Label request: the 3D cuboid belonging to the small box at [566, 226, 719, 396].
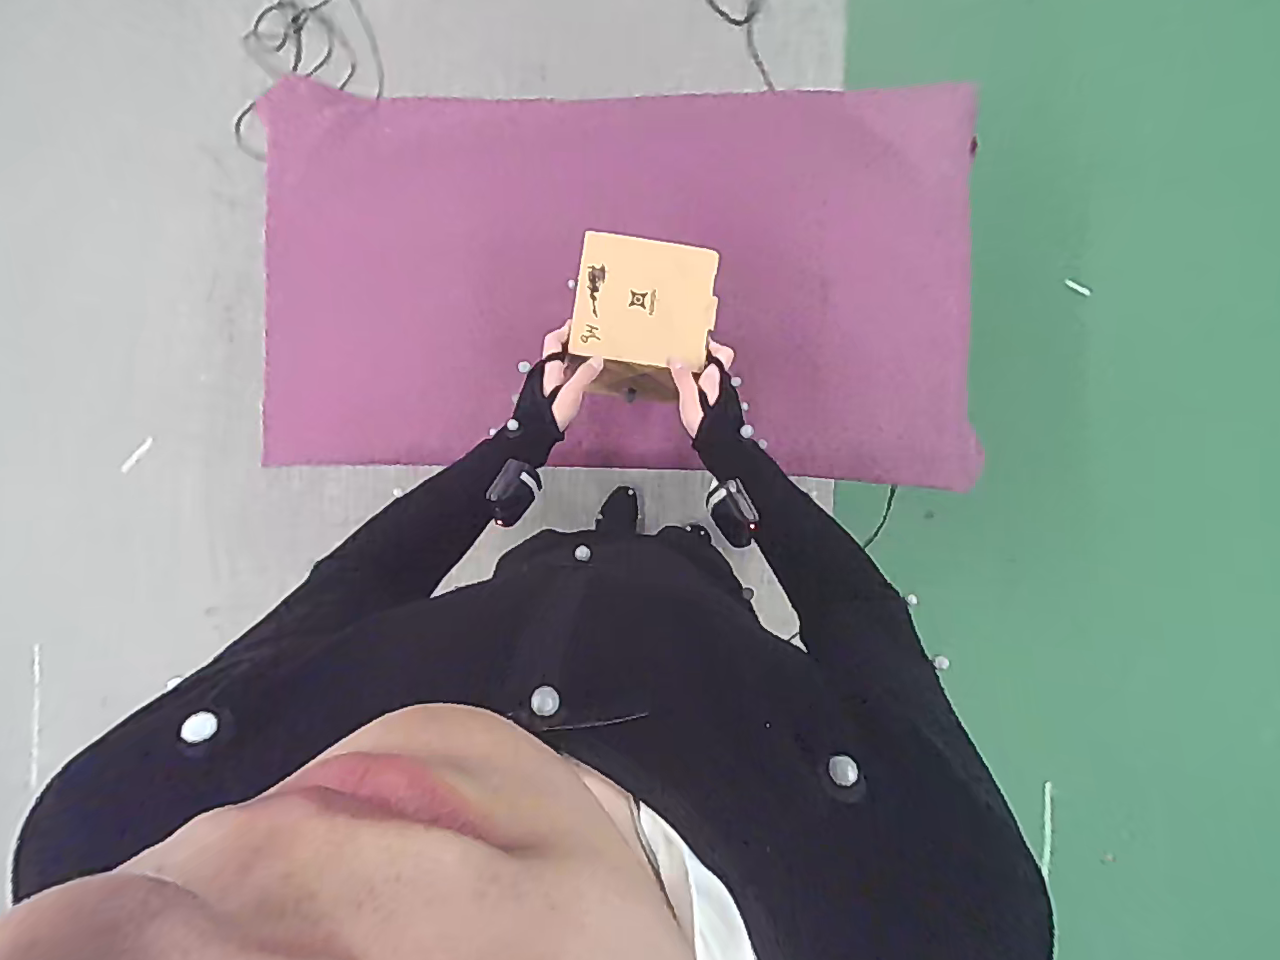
[{"bbox_3d":[-0.001,-0.222,0.761,0.179,0.176,0.168,8,84,-3],"label":"small box"}]
